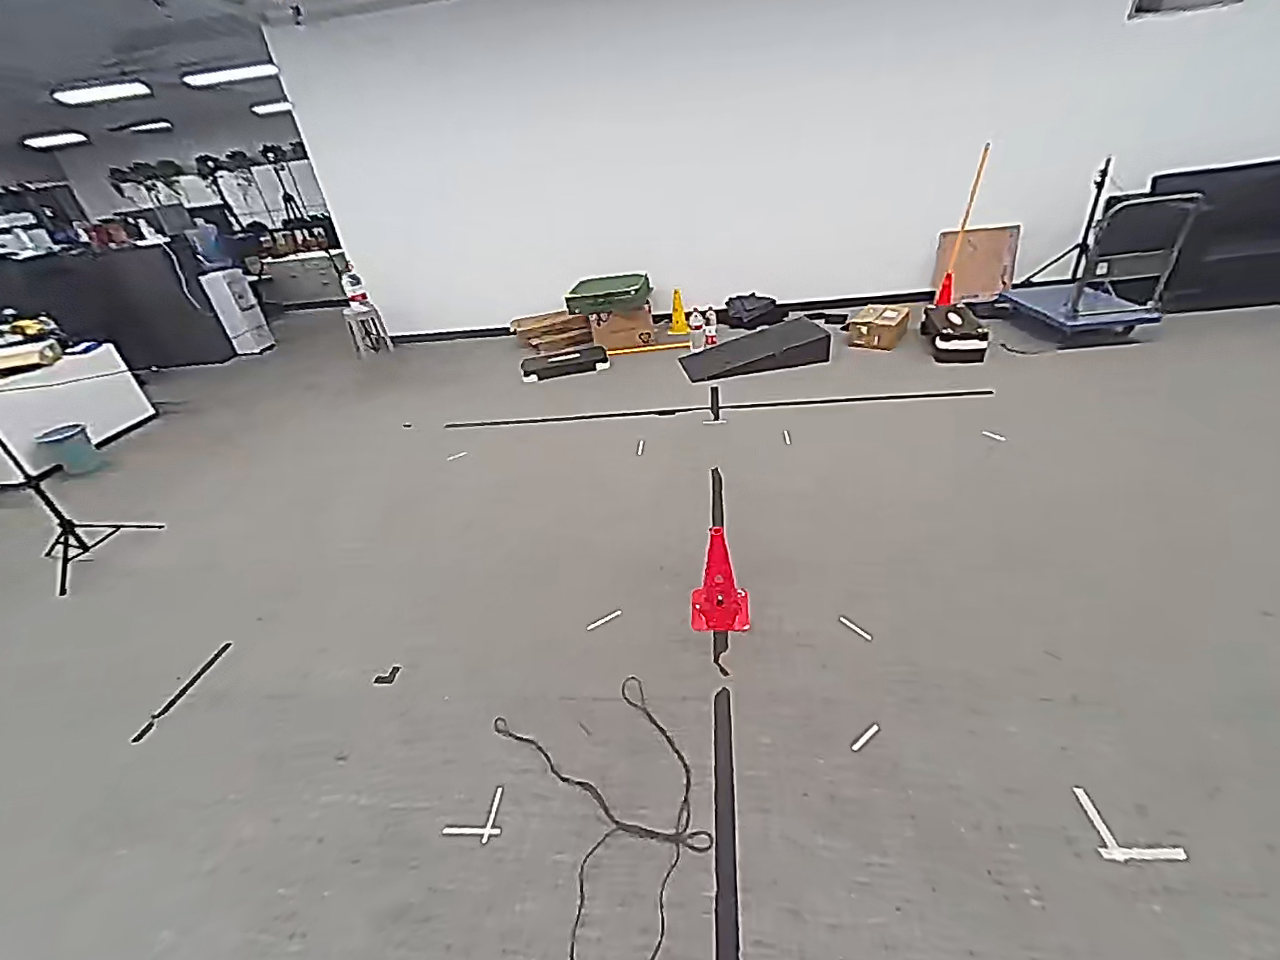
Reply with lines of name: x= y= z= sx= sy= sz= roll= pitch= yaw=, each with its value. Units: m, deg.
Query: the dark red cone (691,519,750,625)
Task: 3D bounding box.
dark red cone: x=0.261 y=0.294 z=1.826 sx=0.201 sy=0.394 sz=0.202 roll=-4 pitch=32 yaw=8
